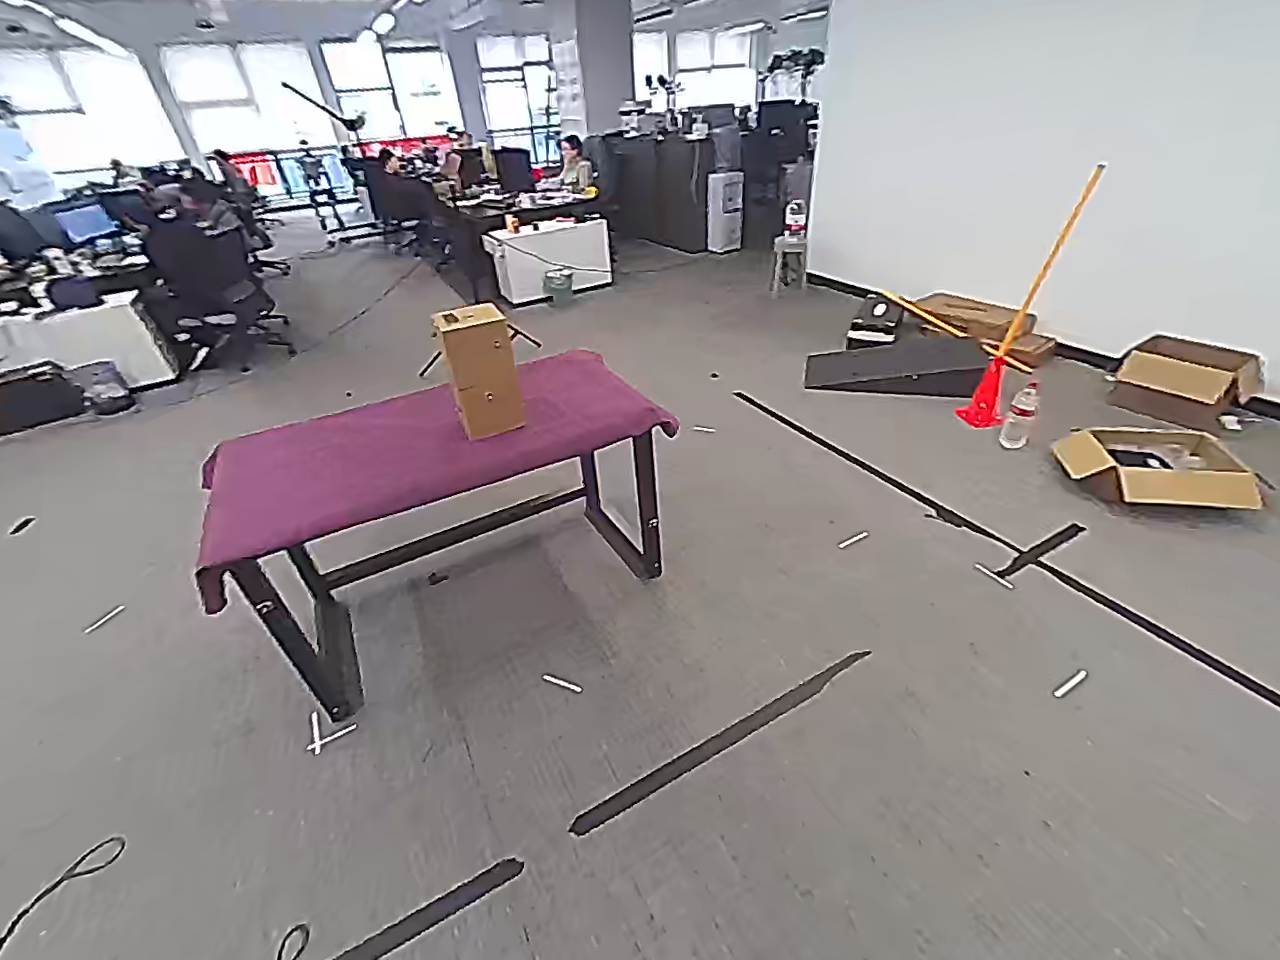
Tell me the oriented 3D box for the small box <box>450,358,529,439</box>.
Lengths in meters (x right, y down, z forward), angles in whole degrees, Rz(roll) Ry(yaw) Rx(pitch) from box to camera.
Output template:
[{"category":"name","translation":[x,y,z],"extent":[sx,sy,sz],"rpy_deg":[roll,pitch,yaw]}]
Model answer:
[{"category":"small box","translation":[-0.451,-0.244,1.625],"extent":[0.179,0.176,0.168],"rpy_deg":[-19,38,-20]}]
